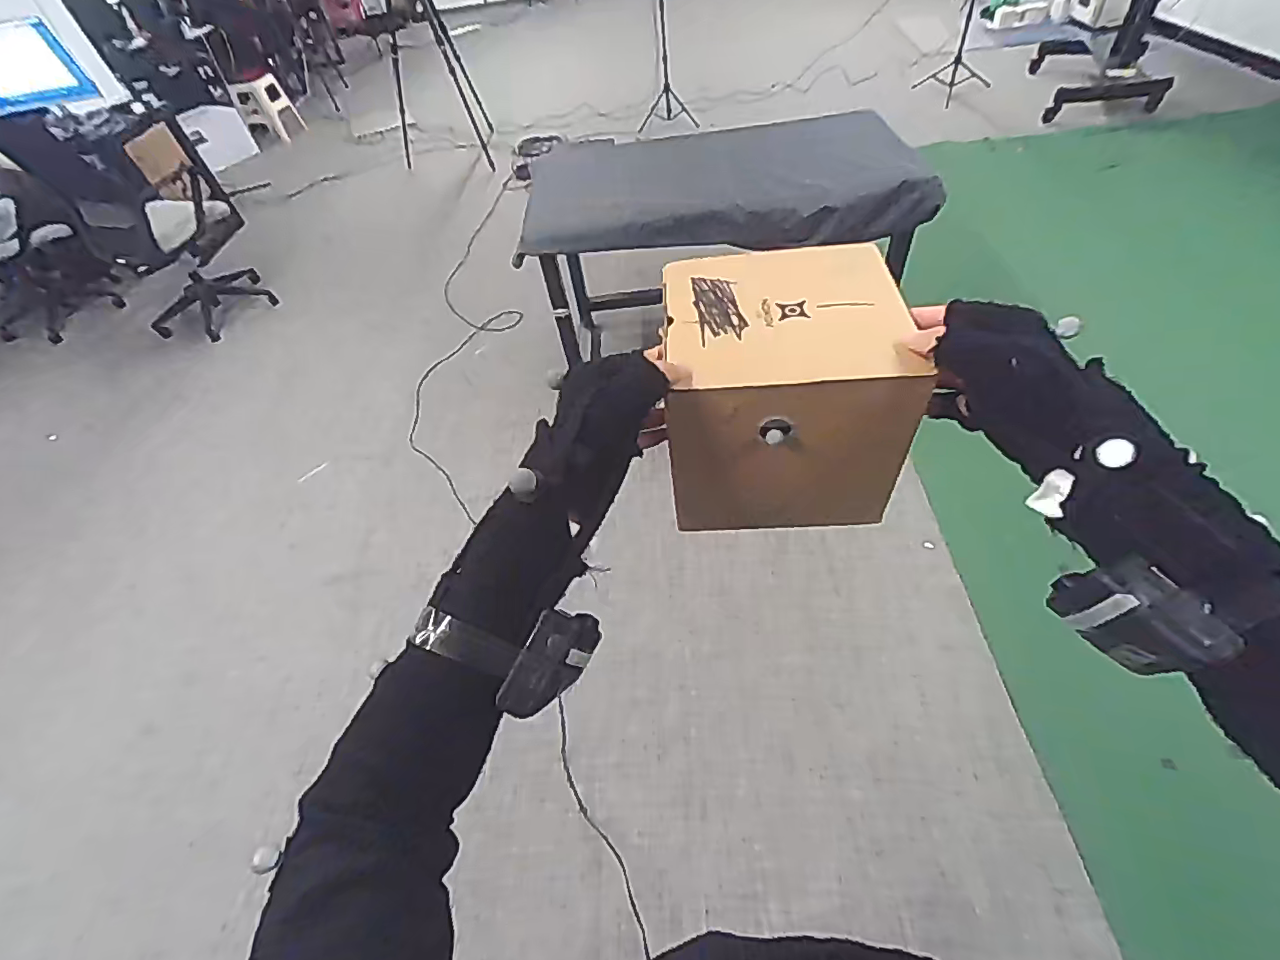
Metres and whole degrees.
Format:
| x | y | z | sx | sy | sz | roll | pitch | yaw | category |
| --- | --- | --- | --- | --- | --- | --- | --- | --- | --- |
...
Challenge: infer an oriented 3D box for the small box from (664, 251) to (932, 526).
| x | y | z | sx | sy | sz | roll | pitch | yaw | category |
| --- | --- | --- | --- | --- | --- | --- | --- | --- | --- |
| 0.115 | -0.072 | 0.465 | 0.179 | 0.176 | 0.168 | -2 | 51 | 6 | small box |
